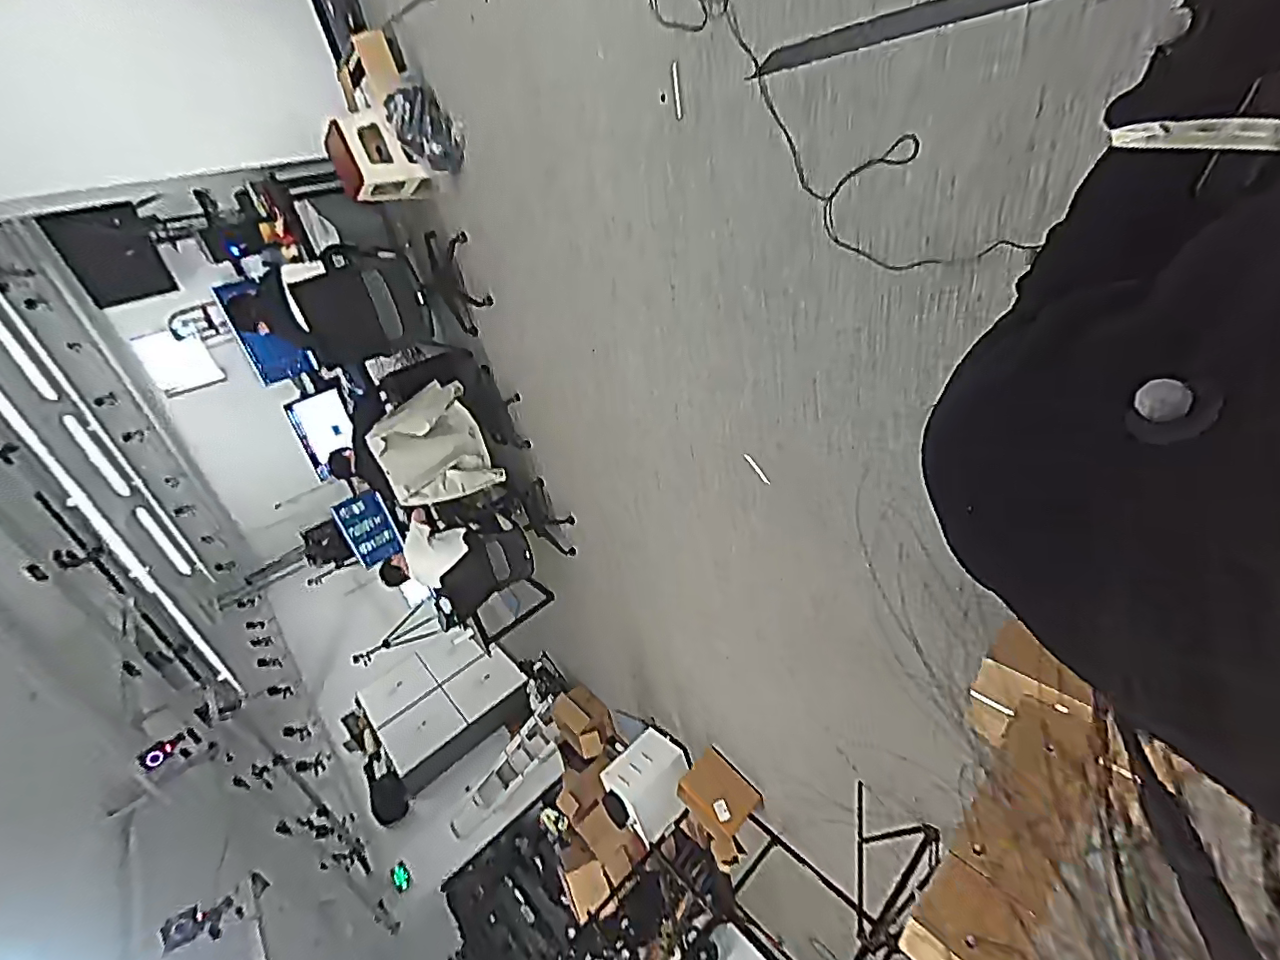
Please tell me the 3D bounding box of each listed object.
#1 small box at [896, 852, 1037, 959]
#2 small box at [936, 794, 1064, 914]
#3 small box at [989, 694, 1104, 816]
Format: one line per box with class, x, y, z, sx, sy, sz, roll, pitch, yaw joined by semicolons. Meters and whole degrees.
small box;0.650;0.894;1.084;0.179;0.176;0.168;26;136;41
small box;0.767;0.820;1.167;0.179;0.176;0.168;26;136;41
small box;1.005;0.669;1.337;0.179;0.176;0.168;23;134;45
